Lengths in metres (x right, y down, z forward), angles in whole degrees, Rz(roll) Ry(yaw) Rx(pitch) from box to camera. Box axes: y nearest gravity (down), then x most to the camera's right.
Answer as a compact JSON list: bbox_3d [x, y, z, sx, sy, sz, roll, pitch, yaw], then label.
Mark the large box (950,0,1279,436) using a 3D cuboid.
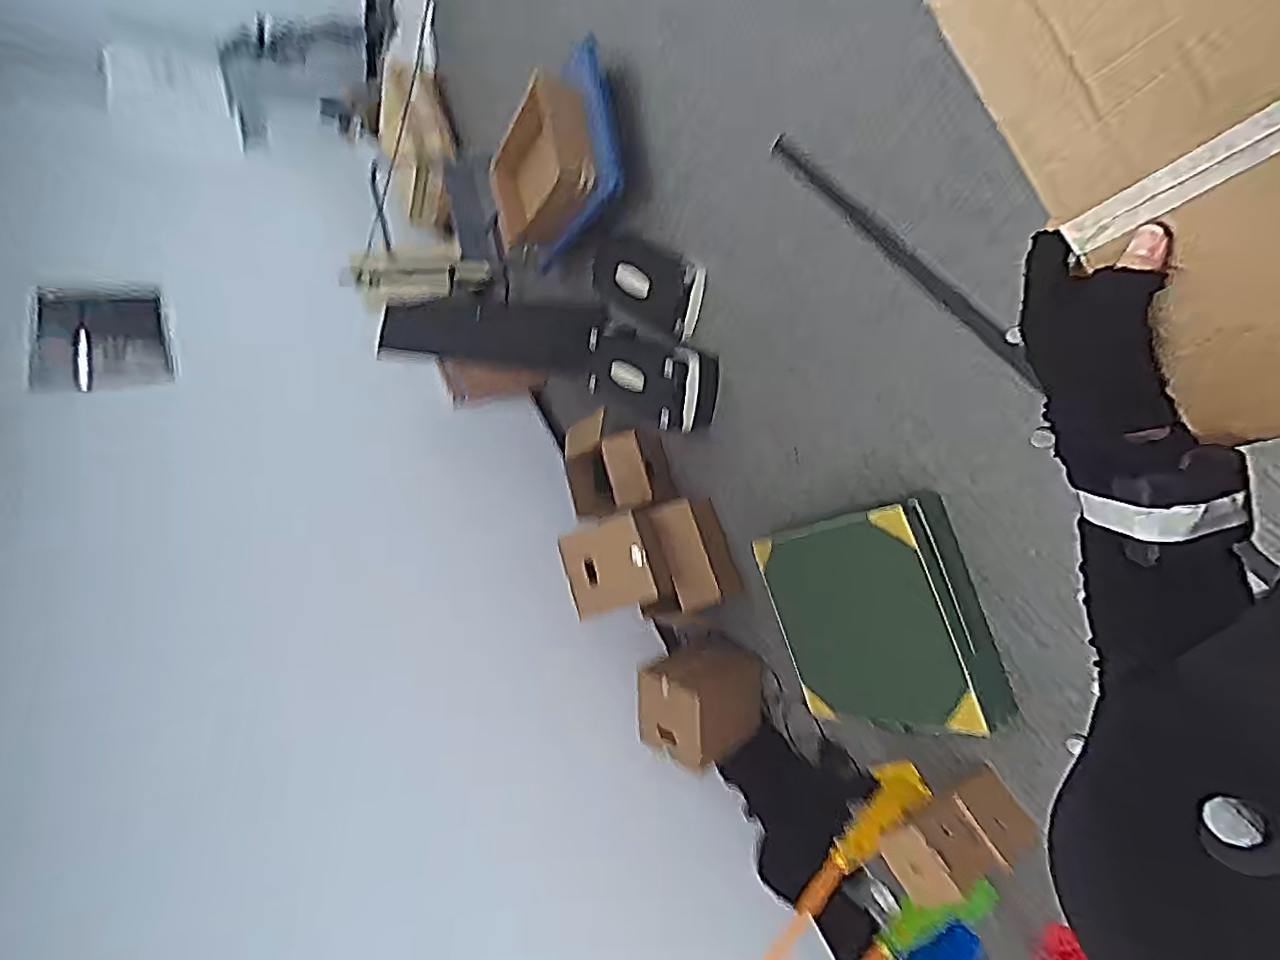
[{"bbox_3d":[0.451,-0.278,0.243,0.320,0.320,0.408,53,145,-7],"label":"large box"}]
